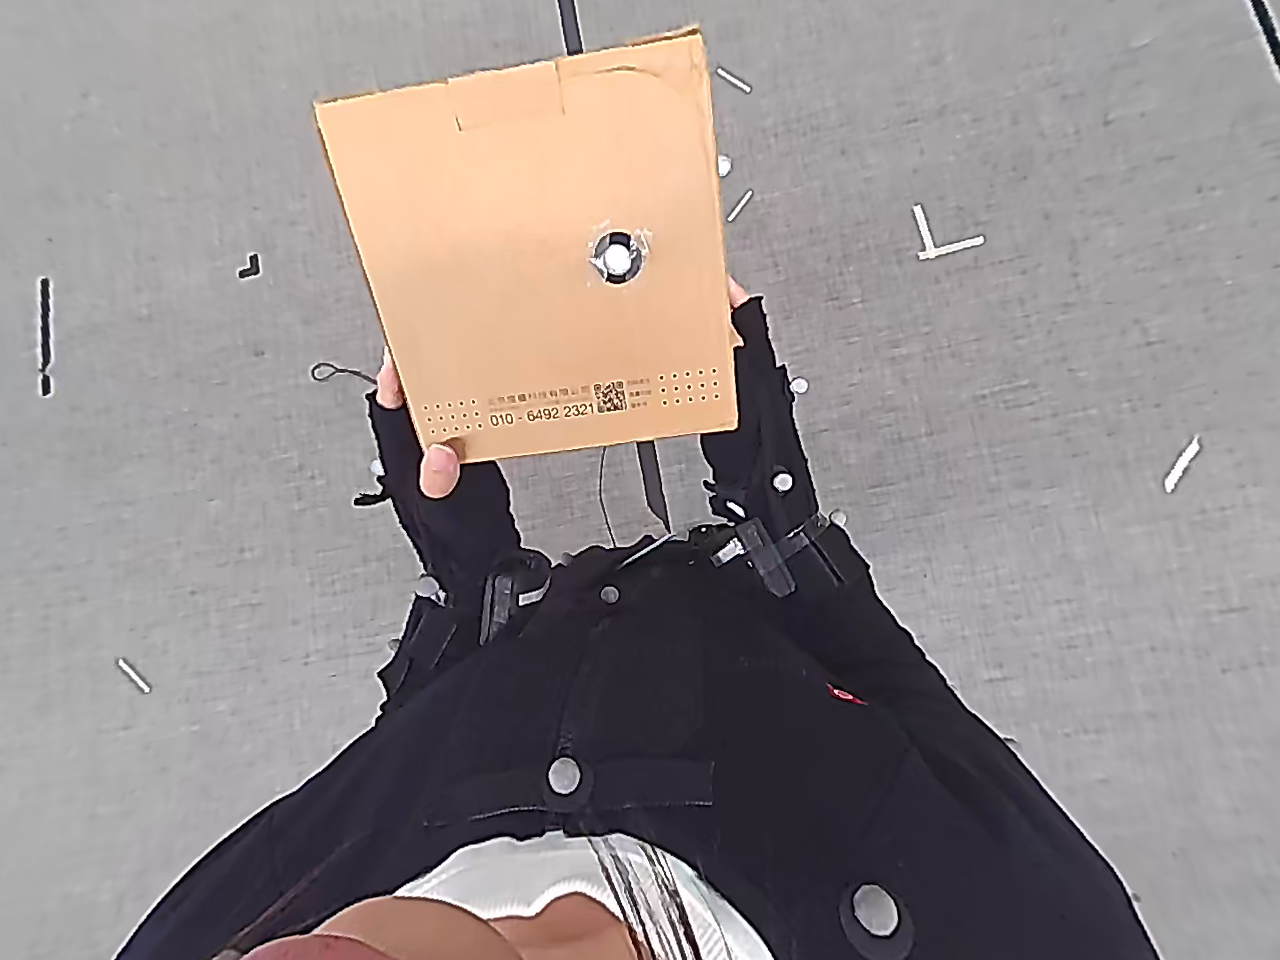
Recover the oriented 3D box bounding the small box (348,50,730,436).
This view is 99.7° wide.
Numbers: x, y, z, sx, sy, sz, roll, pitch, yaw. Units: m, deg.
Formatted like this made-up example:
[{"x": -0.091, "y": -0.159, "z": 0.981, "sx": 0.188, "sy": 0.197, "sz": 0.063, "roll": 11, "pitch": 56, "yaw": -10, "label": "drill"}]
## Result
[{"x": -0.037, "y": -0.131, "z": 0.343, "sx": 0.168, "sy": 0.179, "sz": 0.176, "roll": -6, "pitch": 114, "yaw": 6, "label": "small box"}]
